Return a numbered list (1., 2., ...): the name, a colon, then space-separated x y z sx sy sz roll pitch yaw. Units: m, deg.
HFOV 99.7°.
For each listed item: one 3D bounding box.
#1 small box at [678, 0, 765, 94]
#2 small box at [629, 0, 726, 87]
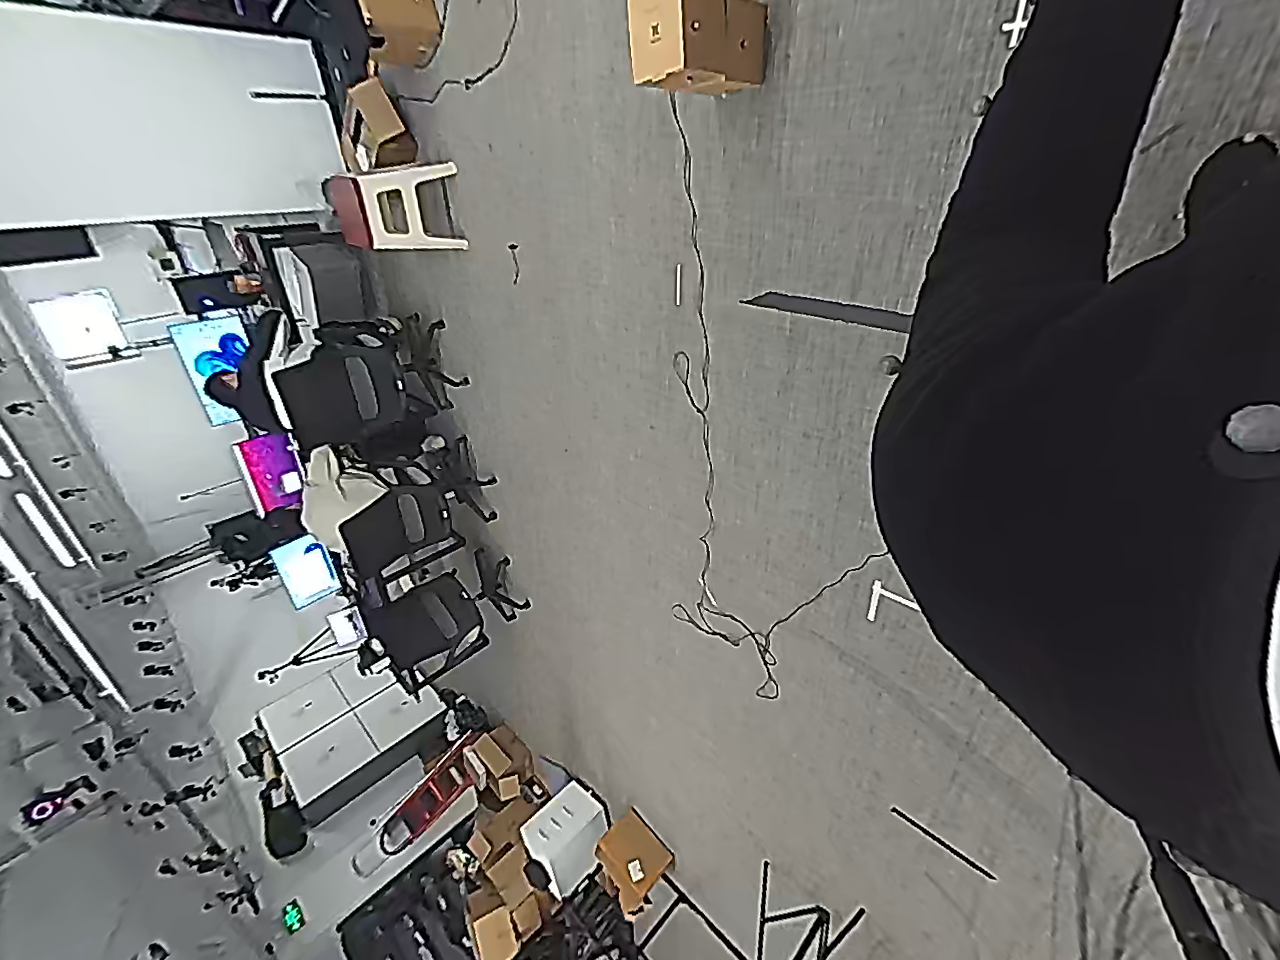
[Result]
1. small box: 0.210 -1.127 1.407 0.168 0.176 0.179 22 128 40
2. small box: 0.095 -1.073 1.306 0.168 0.176 0.179 18 123 41
